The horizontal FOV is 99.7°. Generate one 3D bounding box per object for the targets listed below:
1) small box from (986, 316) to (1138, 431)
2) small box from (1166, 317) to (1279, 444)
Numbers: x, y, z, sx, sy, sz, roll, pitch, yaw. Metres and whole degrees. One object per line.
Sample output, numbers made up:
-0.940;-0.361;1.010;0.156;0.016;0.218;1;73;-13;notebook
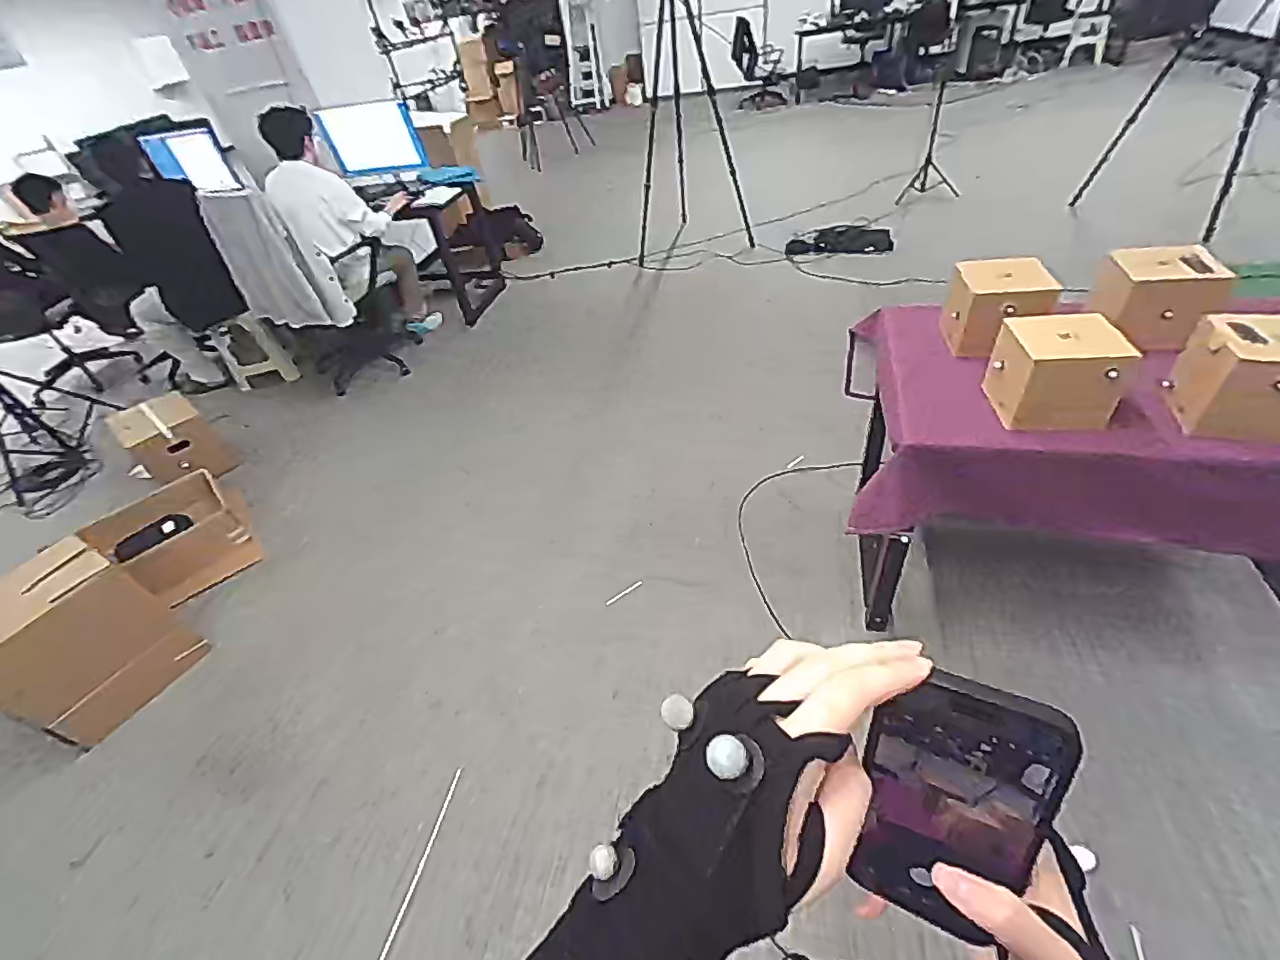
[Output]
0.826;-0.211;1.087;0.179;0.176;0.168;0;43;10;small box
1.124;-0.183;0.993;0.179;0.176;0.168;9;46;19;small box
